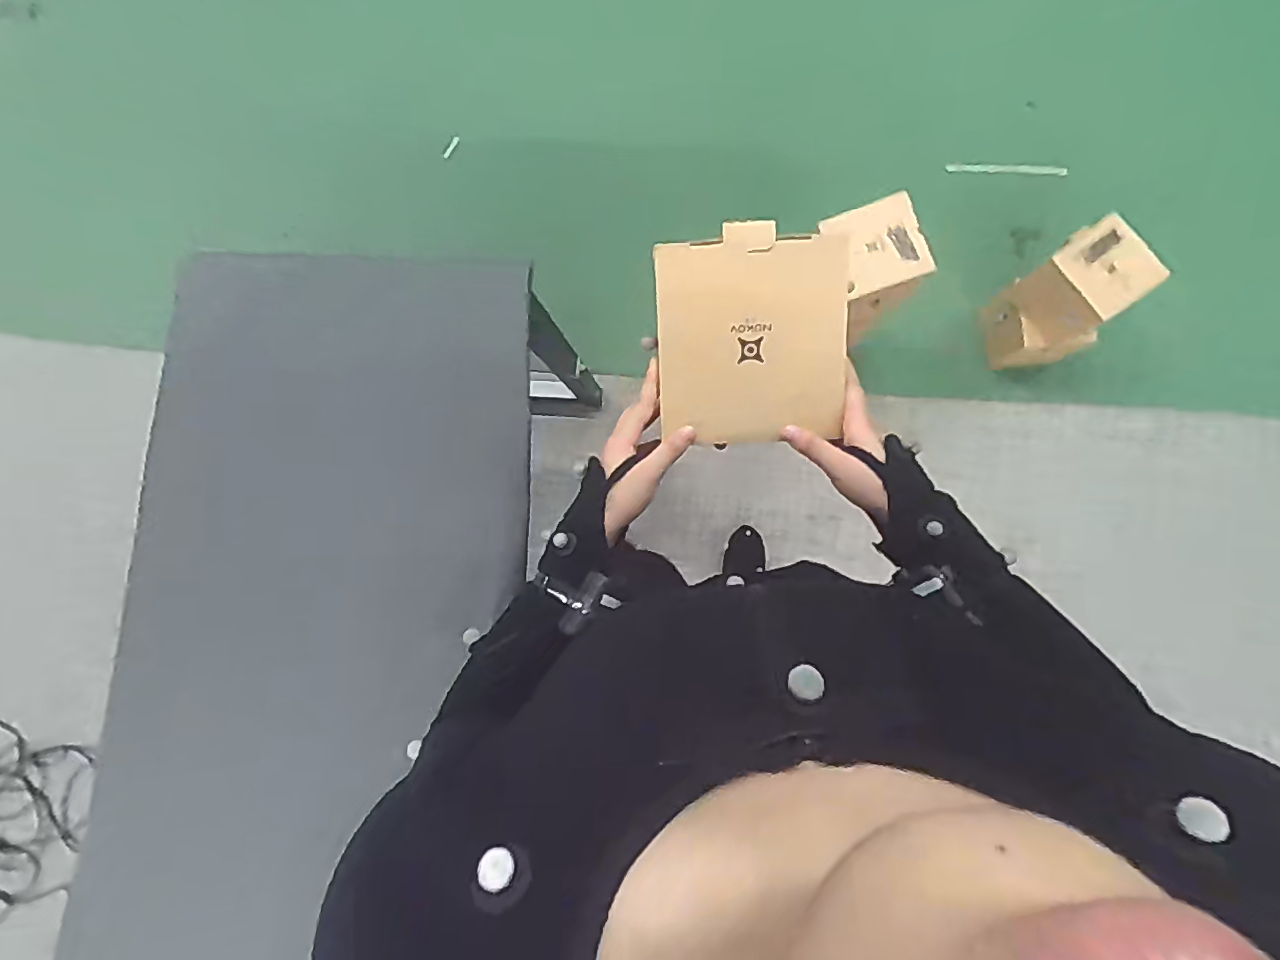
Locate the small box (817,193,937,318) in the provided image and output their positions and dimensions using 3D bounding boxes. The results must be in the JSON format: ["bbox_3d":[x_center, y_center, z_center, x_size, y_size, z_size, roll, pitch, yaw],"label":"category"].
[{"bbox_3d":[0.451,-0.431,1.090,0.179,0.176,0.168,-19,84,5],"label":"small box"}]

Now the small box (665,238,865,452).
[{"bbox_3d":[0.112,-0.128,0.543,0.168,0.176,0.179,-2,101,4],"label":"small box"}]

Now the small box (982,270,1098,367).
[{"bbox_3d":[0.995,-0.401,1.361,0.168,0.176,0.179,-5,84,5],"label":"small box"}]
